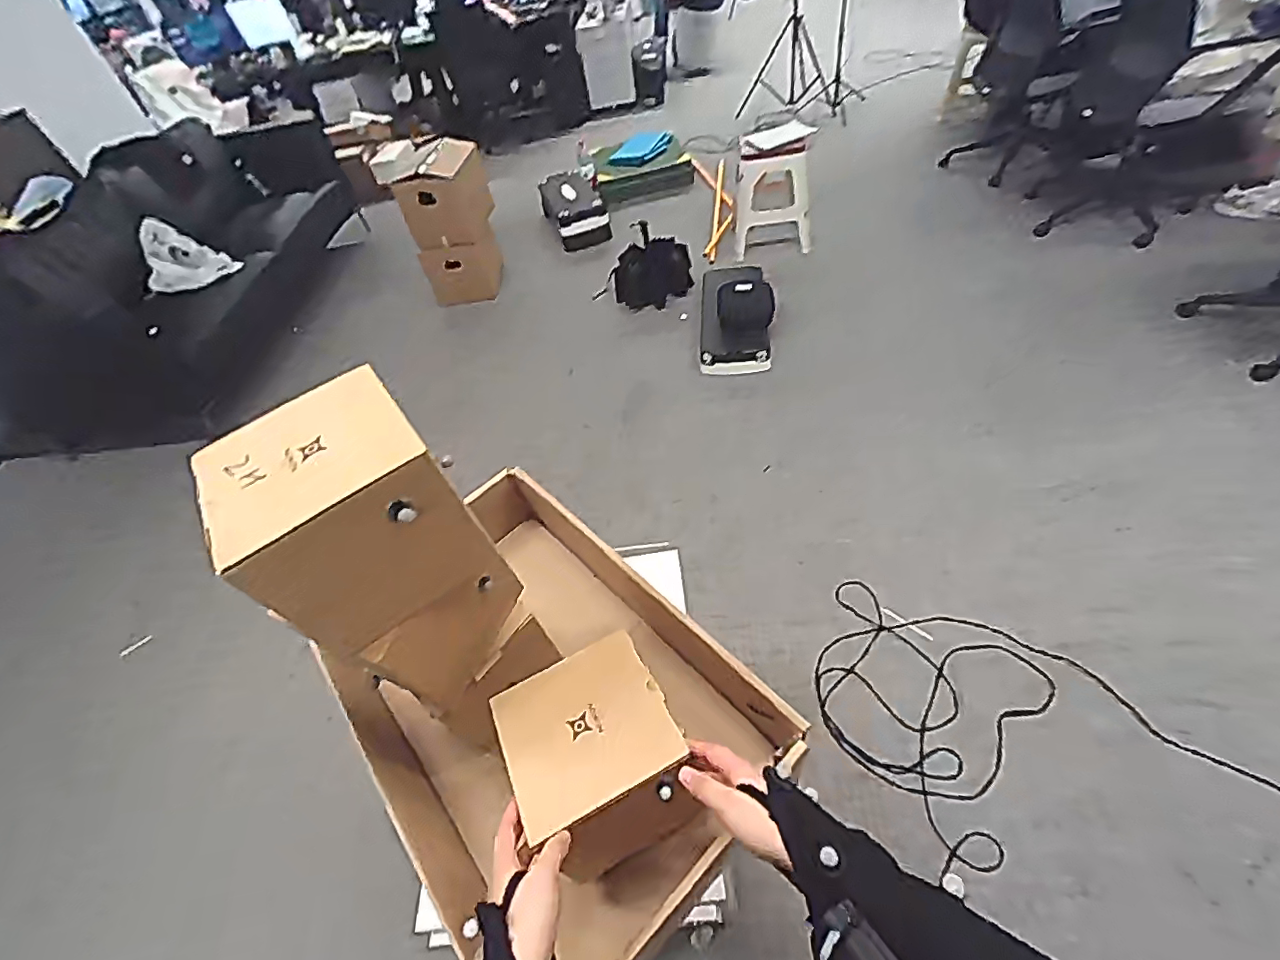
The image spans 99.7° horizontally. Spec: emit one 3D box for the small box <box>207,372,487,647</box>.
[{"bbox_3d":[-0.277,0.030,0.543,0.179,0.176,0.168,-35,52,-16],"label":"small box"}]

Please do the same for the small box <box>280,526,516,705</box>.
[{"bbox_3d":[-0.274,0.145,0.664,0.168,0.176,0.179,12,56,22],"label":"small box"}]
